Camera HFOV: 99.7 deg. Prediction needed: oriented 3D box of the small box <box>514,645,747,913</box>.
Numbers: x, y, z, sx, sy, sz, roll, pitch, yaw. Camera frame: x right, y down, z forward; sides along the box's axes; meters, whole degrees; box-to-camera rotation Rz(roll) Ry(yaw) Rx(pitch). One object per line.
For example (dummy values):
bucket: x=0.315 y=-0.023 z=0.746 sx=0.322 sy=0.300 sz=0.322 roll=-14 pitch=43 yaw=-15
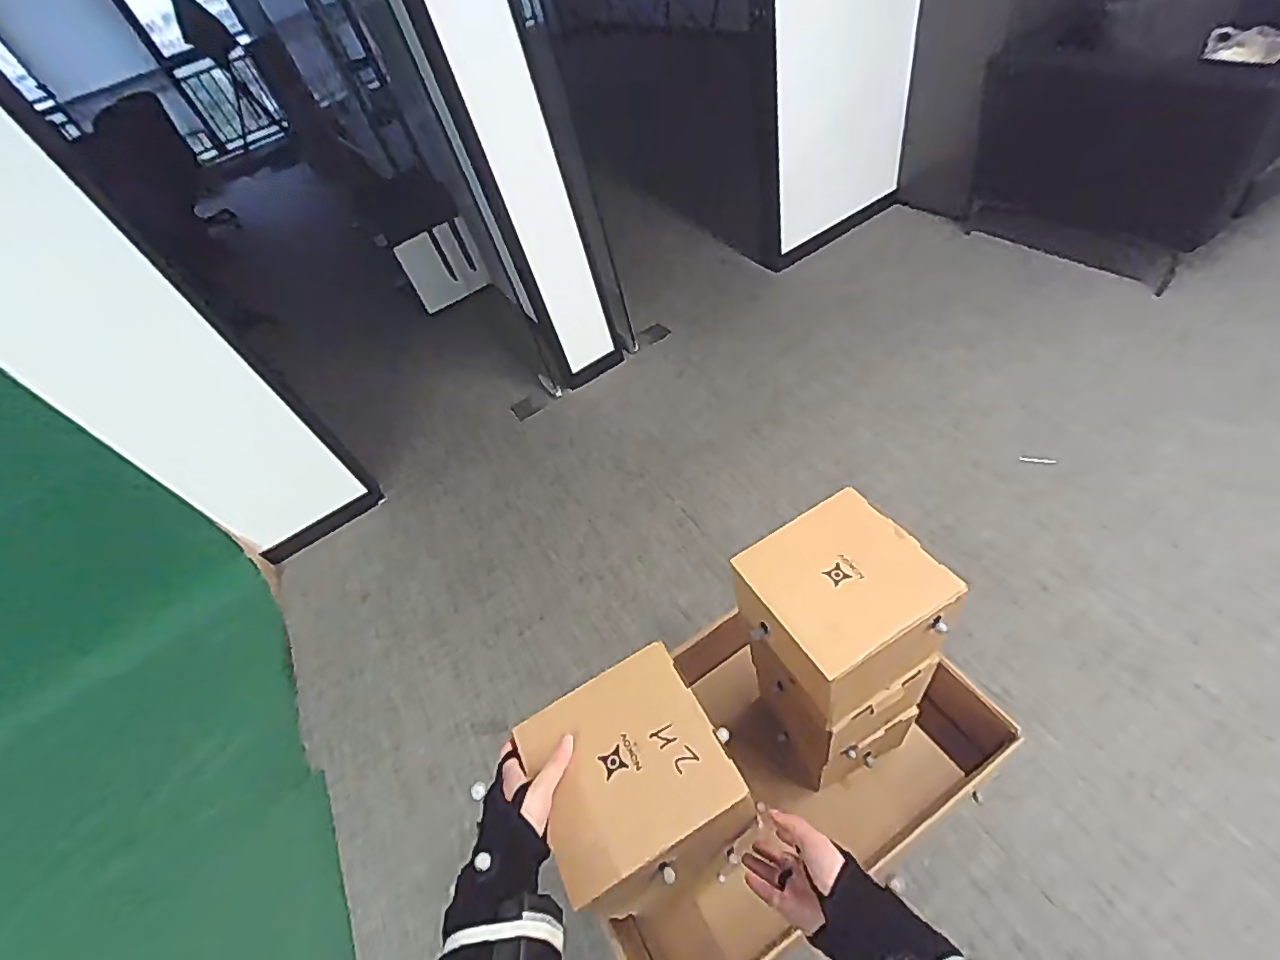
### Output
small box: x=-0.001 y=0.313 z=0.563 sx=0.179 sy=0.176 sz=0.168 roll=-27 pitch=50 yaw=-11

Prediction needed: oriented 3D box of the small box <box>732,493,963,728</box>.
small box: x=0.231 y=0.155 z=0.632 sx=0.179 sy=0.176 sz=0.168 roll=-30 pitch=49 yaw=-10

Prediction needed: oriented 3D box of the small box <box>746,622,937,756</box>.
small box: x=0.269 y=0.257 z=0.753 sx=0.168 sy=0.176 sz=0.179 roll=-29 pitch=48 yaw=-9

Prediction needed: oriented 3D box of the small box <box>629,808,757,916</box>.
small box: x=0.034 y=0.411 z=0.689 sx=0.168 sy=0.176 sz=0.179 roll=-30 pitch=49 yaw=-11
